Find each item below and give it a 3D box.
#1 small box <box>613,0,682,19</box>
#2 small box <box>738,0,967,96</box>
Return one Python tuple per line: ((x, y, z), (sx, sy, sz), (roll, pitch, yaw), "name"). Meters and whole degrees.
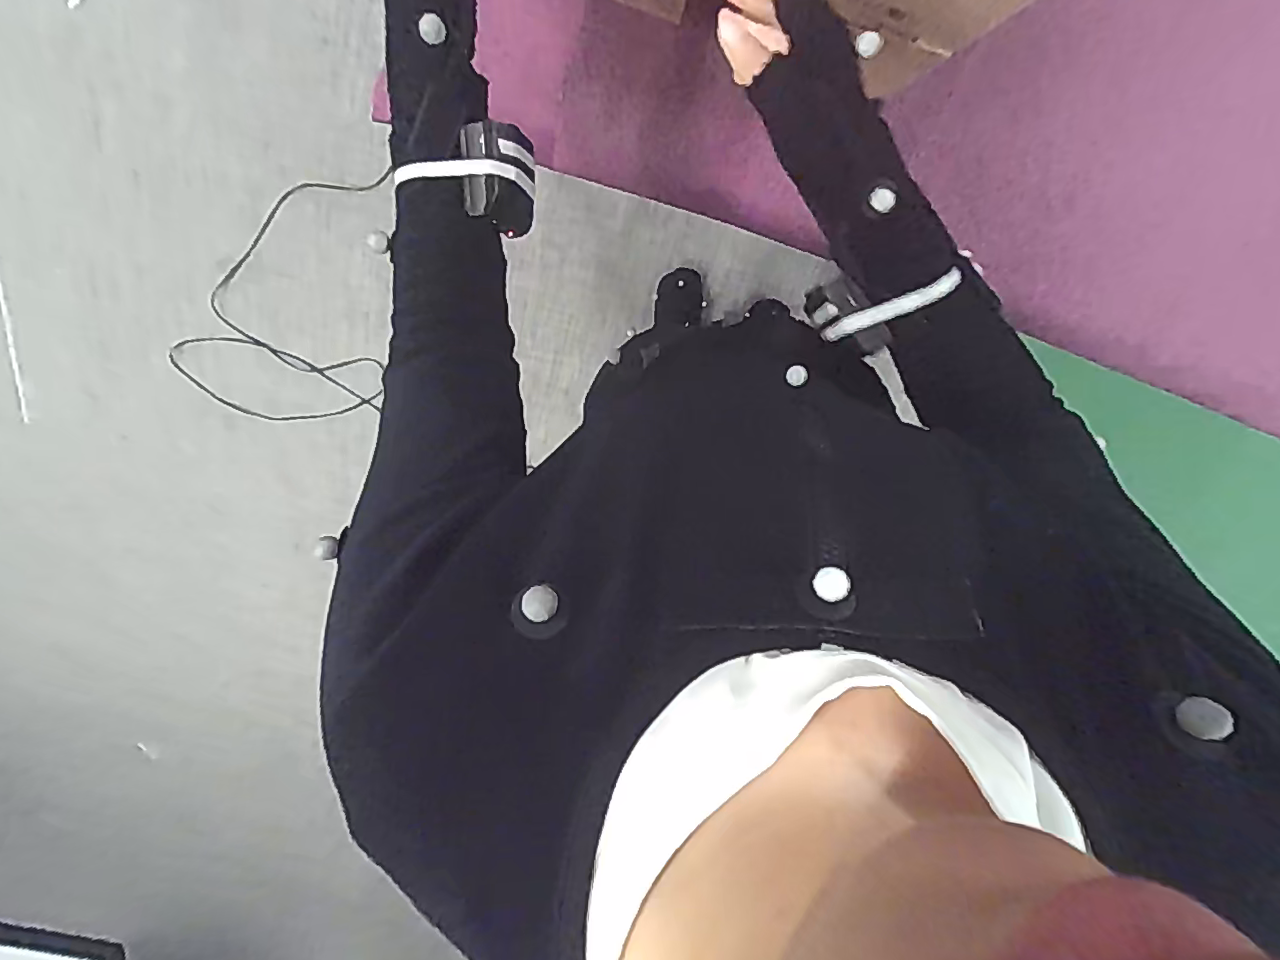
((-0.016, -0.531, 0.435), (0.168, 0.176, 0.179), (17, 113, -5), "small box")
((0.193, -0.466, 0.458), (0.168, 0.176, 0.179), (18, 112, -6), "small box")
